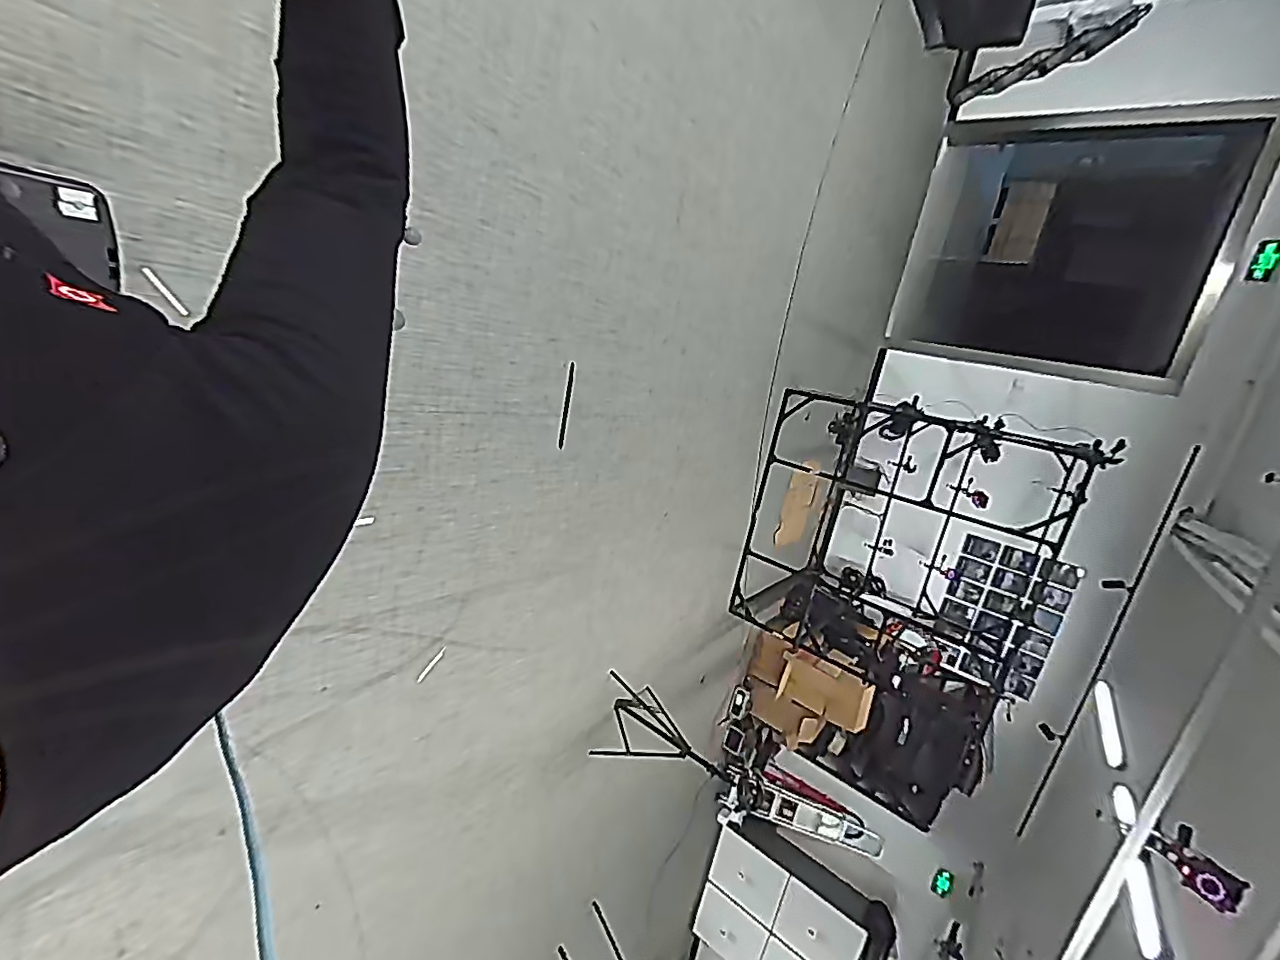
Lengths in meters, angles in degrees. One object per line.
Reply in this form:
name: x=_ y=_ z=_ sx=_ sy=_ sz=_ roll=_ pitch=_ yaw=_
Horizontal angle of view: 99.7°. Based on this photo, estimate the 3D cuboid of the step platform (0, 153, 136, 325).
step platform: x=-1.277 y=-0.434 z=0.870 sx=0.684 sy=0.204 sz=0.286 roll=-11 pitch=117 yaw=-53
